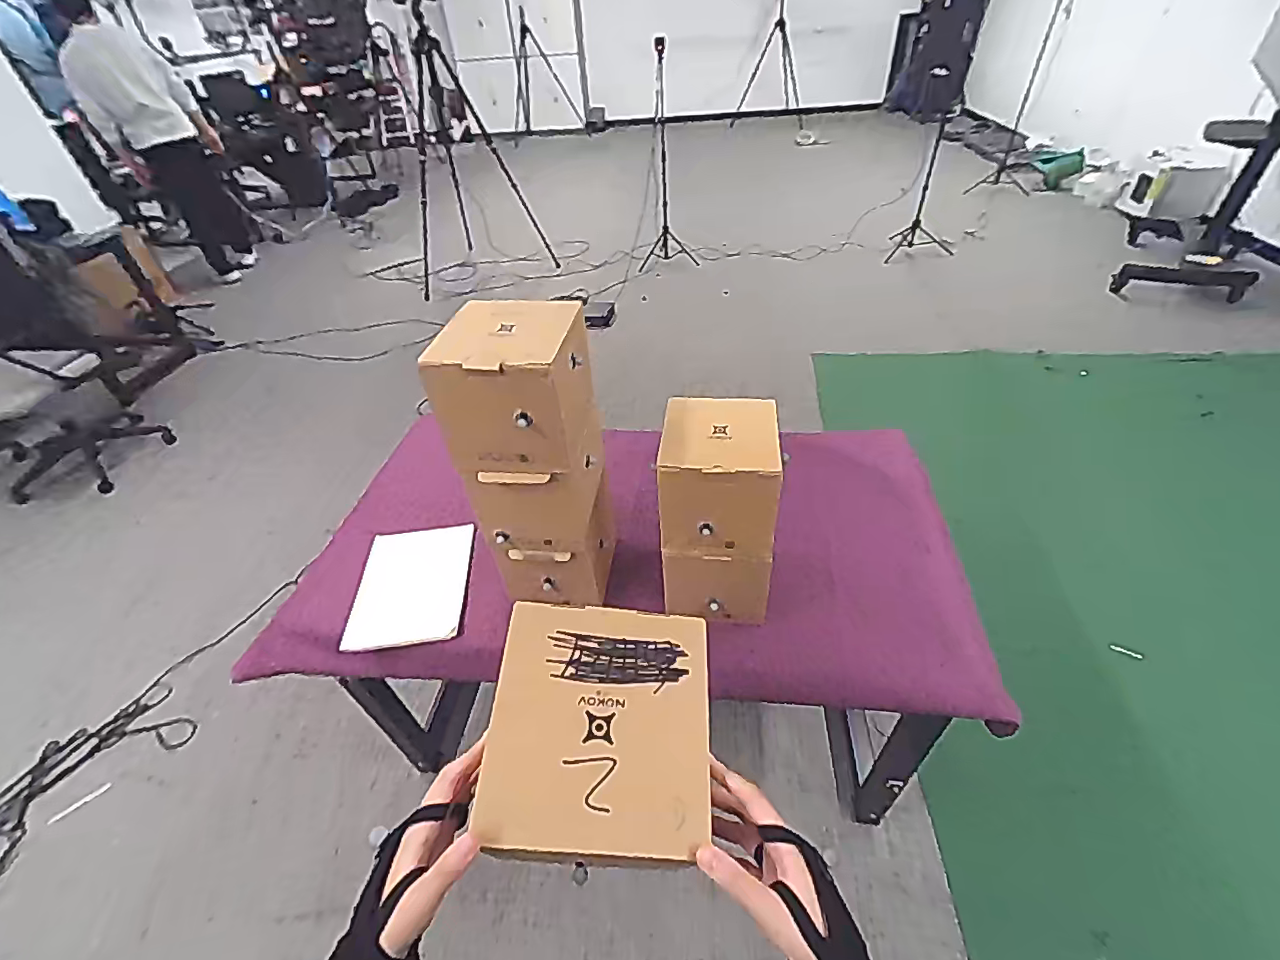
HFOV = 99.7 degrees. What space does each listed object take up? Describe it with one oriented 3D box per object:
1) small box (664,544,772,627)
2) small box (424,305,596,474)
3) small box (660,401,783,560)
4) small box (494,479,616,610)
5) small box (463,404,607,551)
[{"bbox_3d":[0.133,0.126,0.926,0.168,0.176,0.179,1,41,9],"label":"small box"},{"bbox_3d":[-0.161,-0.124,0.742,0.168,0.176,0.179,3,42,8],"label":"small box"},{"bbox_3d":[0.121,-0.002,0.824,0.168,0.176,0.179,3,41,8],"label":"small box"},{"bbox_3d":[-0.139,0.114,0.967,0.168,0.176,0.179,3,43,7],"label":"small box"},{"bbox_3d":[-0.150,-0.006,0.854,0.168,0.176,0.179,2,41,8],"label":"small box"}]
